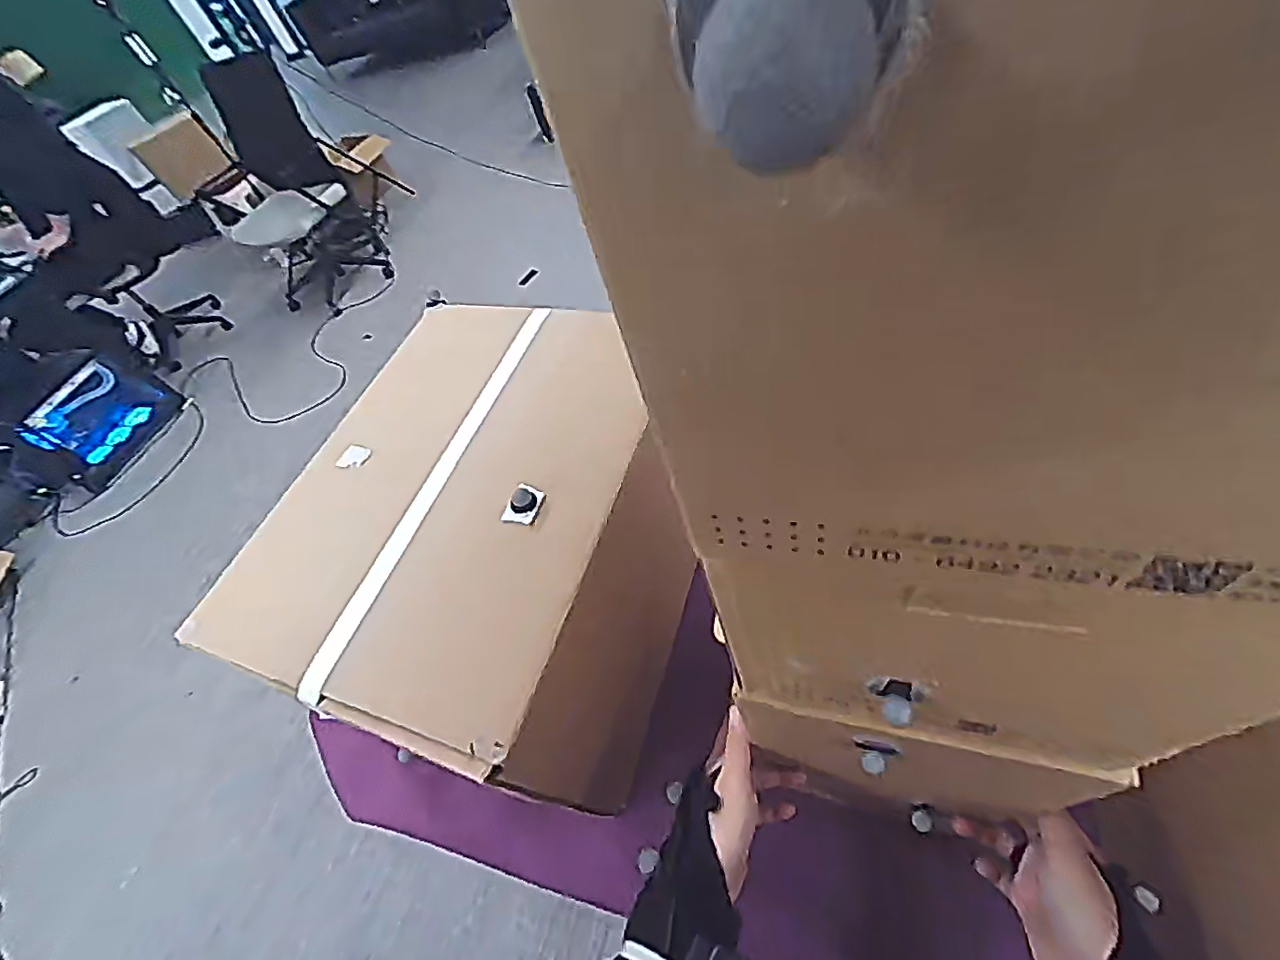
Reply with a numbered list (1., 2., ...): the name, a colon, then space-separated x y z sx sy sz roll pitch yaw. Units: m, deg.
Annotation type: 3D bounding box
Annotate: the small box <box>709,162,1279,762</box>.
1. small box: 0.134 -0.002 0.234 0.168 0.176 0.179 4 57 19
